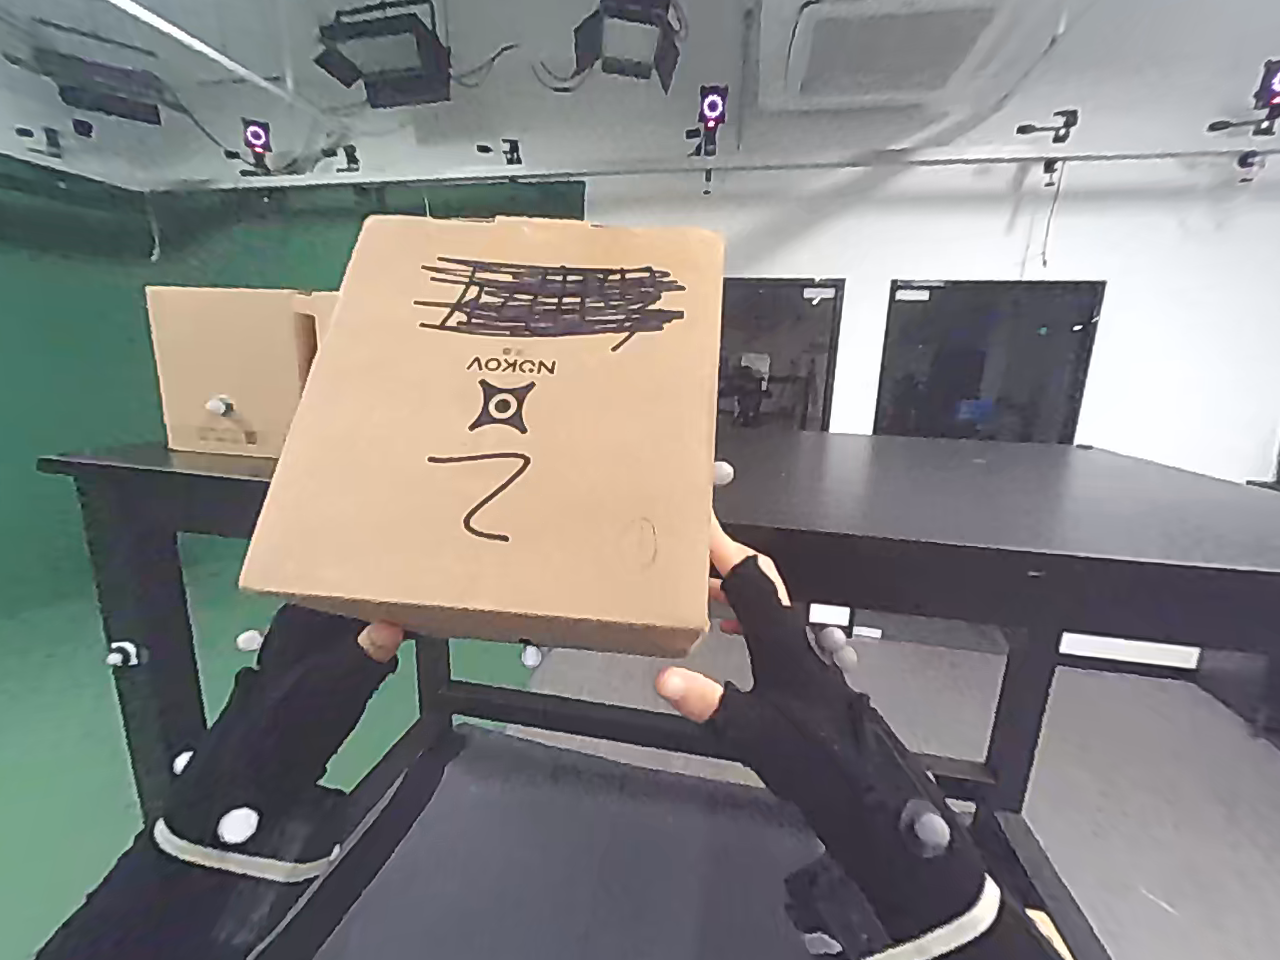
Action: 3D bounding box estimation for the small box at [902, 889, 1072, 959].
[{"bbox_3d":[0.430,0.655,0.651,0.168,0.176,0.179,4,12,9],"label":"small box"}]

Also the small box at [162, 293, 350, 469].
[{"bbox_3d":[-0.394,-0.116,0.628,0.168,0.176,0.179,5,14,9],"label":"small box"}]

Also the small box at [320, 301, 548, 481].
[{"bbox_3d":[-0.208,-0.098,0.592,0.168,0.176,0.179,5,12,15],"label":"small box"}]
